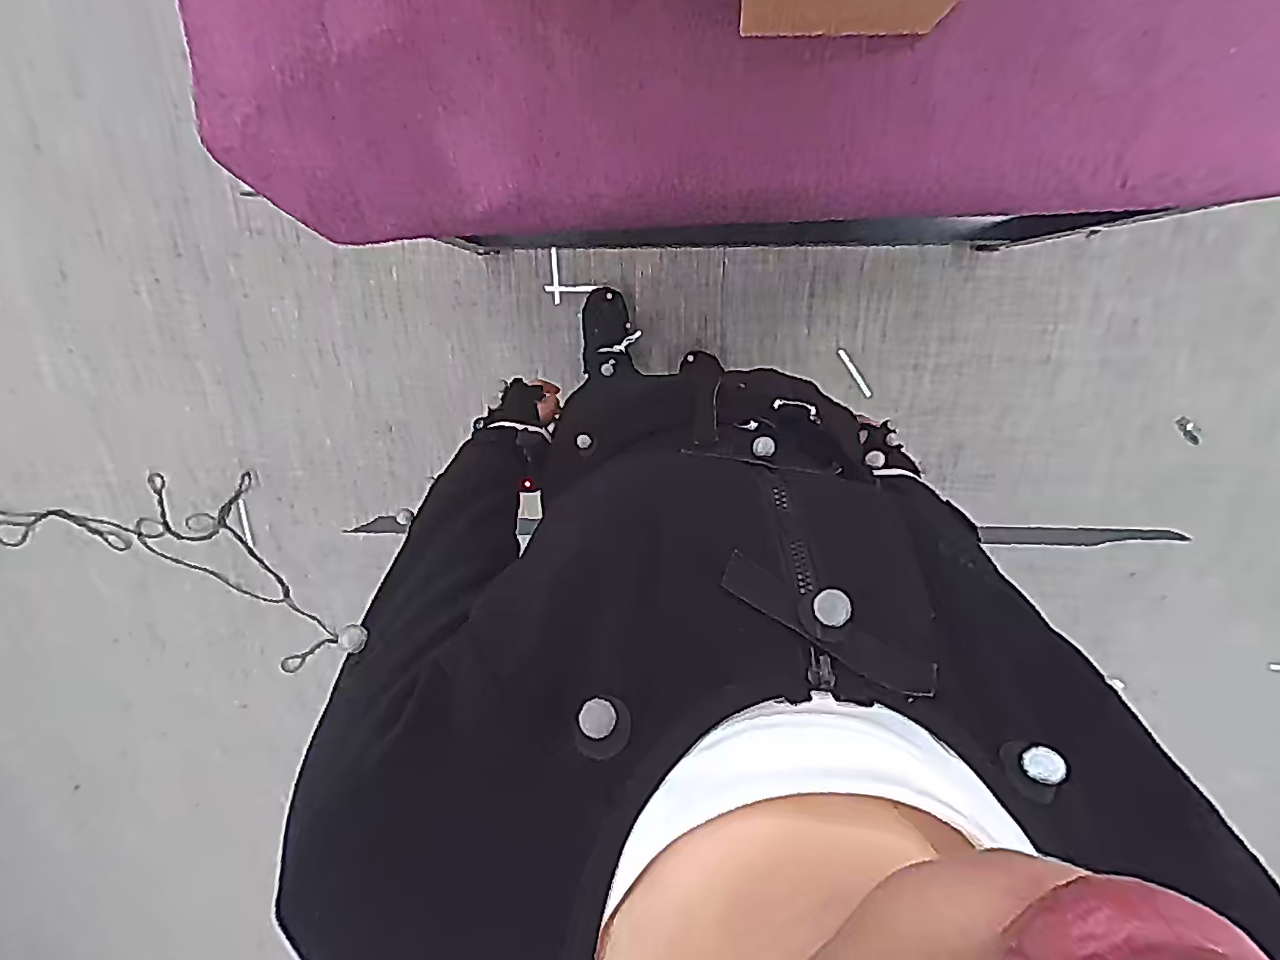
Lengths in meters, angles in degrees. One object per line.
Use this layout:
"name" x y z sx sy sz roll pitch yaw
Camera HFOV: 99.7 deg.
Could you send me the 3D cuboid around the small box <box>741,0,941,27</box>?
"small box" 0.179 -0.471 0.396 0.179 0.176 0.168 0 106 1
